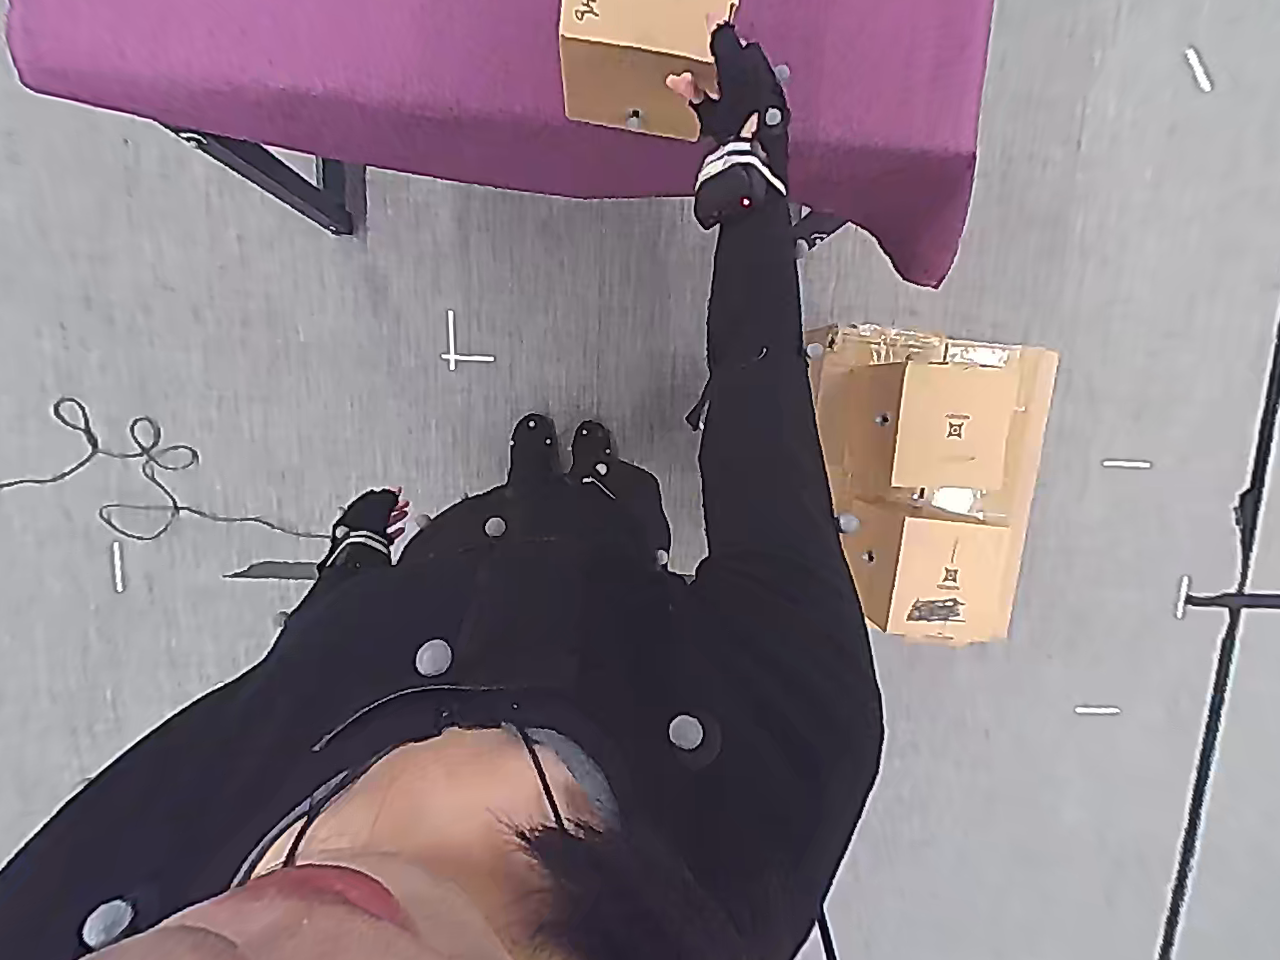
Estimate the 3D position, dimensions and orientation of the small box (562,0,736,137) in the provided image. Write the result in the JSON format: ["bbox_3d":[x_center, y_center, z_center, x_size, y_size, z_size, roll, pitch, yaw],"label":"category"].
[{"bbox_3d":[0.008,-0.532,0.626,0.179,0.176,0.168,6,96,-6],"label":"small box"}]

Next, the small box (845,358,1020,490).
[{"bbox_3d":[0.431,-0.087,0.827,0.168,0.176,0.179,3,99,-3],"label":"small box"}]

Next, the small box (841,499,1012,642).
[{"bbox_3d":[0.438,0.134,0.856,0.168,0.176,0.179,6,95,-5],"label":"small box"}]
